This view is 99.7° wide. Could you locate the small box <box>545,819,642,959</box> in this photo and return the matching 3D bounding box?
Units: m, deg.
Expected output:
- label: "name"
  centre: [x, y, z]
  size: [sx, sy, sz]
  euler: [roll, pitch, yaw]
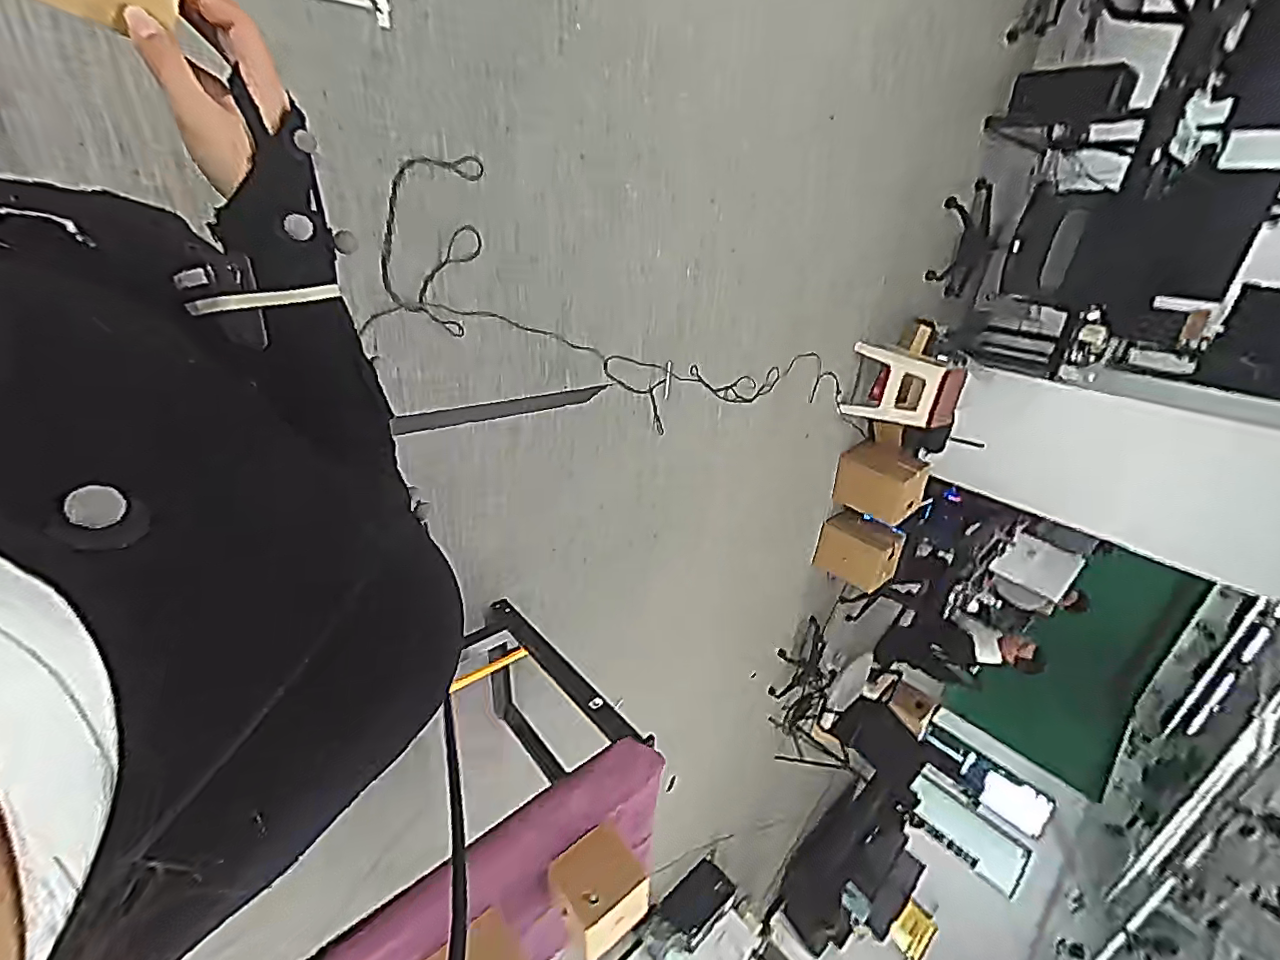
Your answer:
- label: "small box"
  centre: [-0.115, 0.966, 1.285]
  size: [0.179, 0.176, 0.168]
  euler: [-20, 126, -35]
